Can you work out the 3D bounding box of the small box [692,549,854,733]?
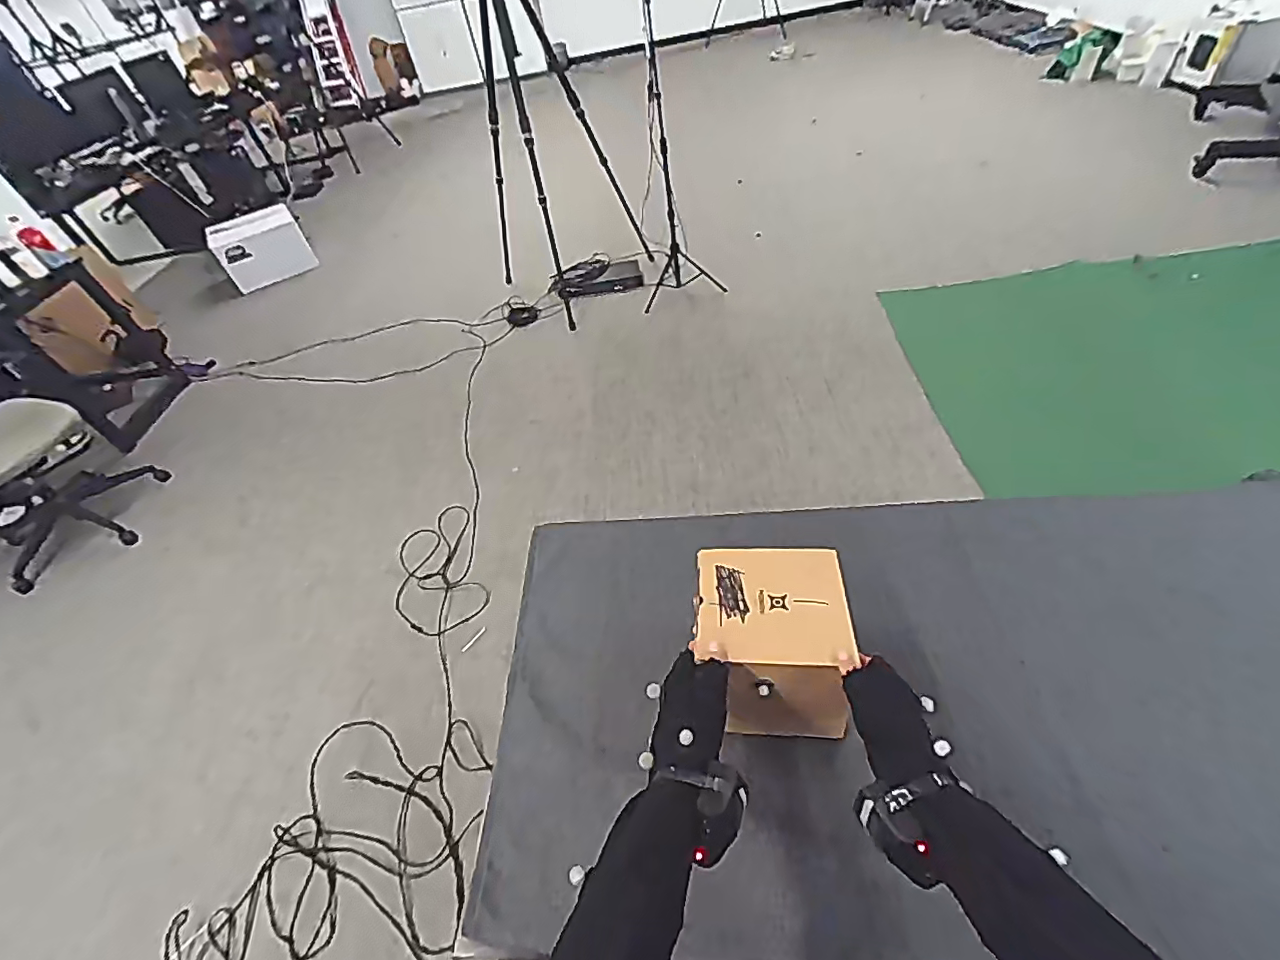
[{"bbox_3d":[0.161,0.206,0.697,0.179,0.176,0.168,0,39,8],"label":"small box"}]
